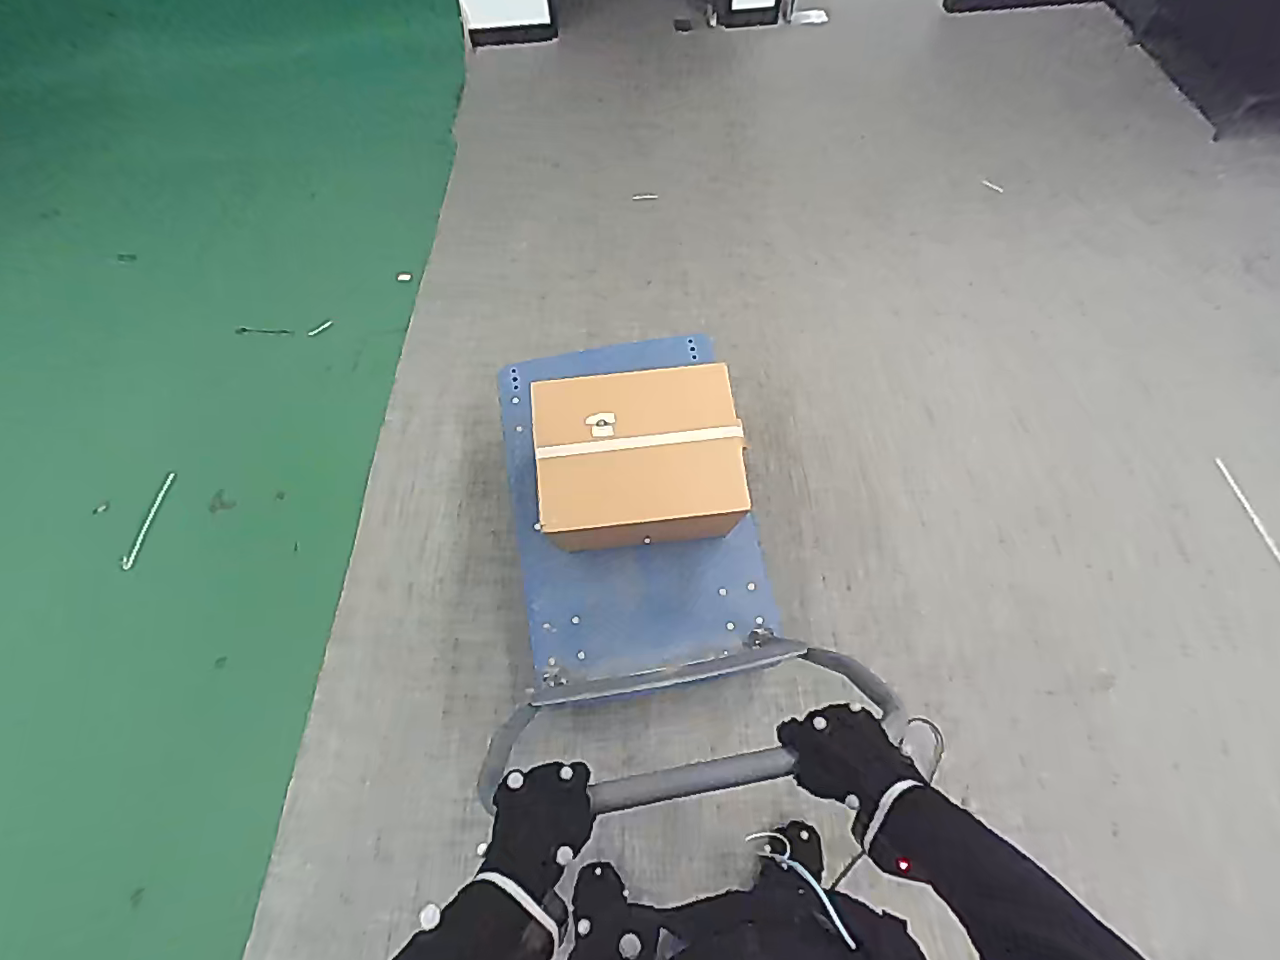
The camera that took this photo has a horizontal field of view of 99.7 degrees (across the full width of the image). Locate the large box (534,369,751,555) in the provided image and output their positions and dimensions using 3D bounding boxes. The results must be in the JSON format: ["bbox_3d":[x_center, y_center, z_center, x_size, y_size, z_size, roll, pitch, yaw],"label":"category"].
[{"bbox_3d":[0.002,-0.020,1.207,0.408,0.320,0.320,-7,75,0],"label":"large box"}]
